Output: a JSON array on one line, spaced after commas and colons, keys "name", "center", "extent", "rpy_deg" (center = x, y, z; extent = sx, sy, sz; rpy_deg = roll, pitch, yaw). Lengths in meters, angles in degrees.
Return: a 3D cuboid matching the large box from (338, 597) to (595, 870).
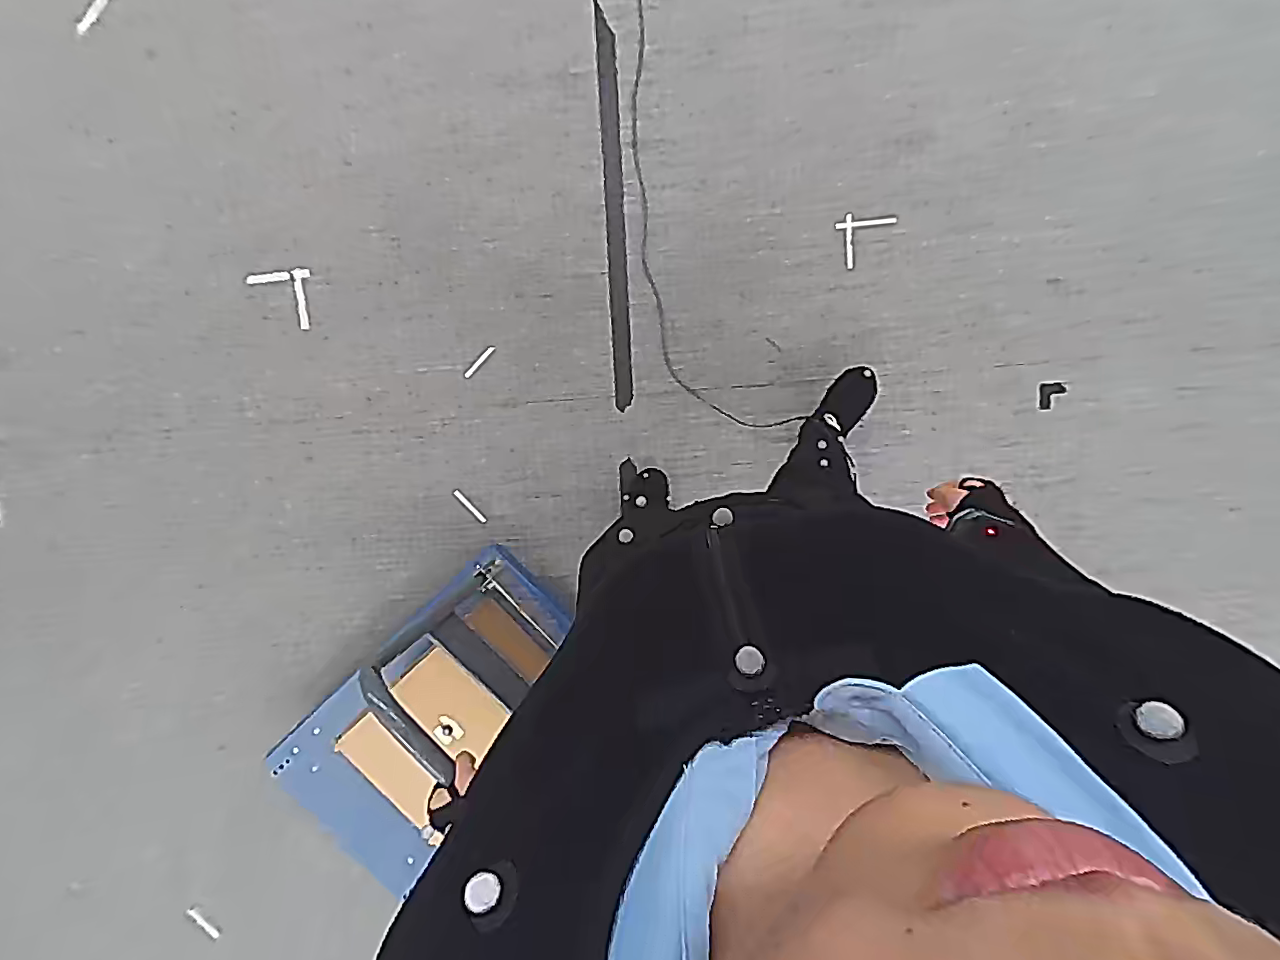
[{"name": "large box", "center": [-0.362, 0.549, 1.235], "extent": [0.320, 0.320, 0.408], "rpy_deg": [-43, 93, 5]}]
